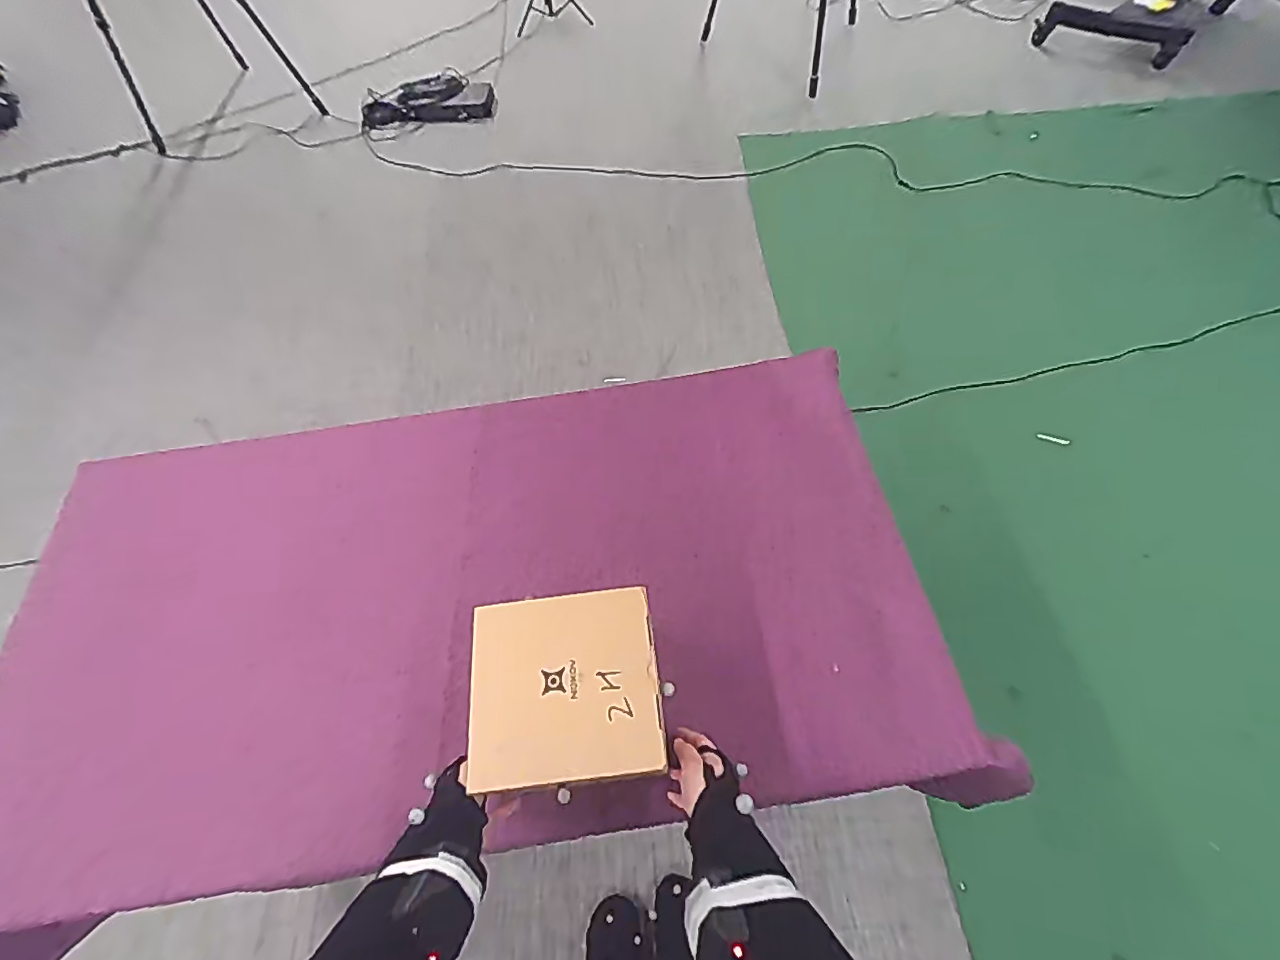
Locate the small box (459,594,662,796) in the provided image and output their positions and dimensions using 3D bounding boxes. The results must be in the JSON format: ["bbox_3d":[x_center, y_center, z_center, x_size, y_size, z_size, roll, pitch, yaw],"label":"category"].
[{"bbox_3d":[-0.072,0.233,0.571,0.179,0.176,0.168,-6,60,-1],"label":"small box"}]
